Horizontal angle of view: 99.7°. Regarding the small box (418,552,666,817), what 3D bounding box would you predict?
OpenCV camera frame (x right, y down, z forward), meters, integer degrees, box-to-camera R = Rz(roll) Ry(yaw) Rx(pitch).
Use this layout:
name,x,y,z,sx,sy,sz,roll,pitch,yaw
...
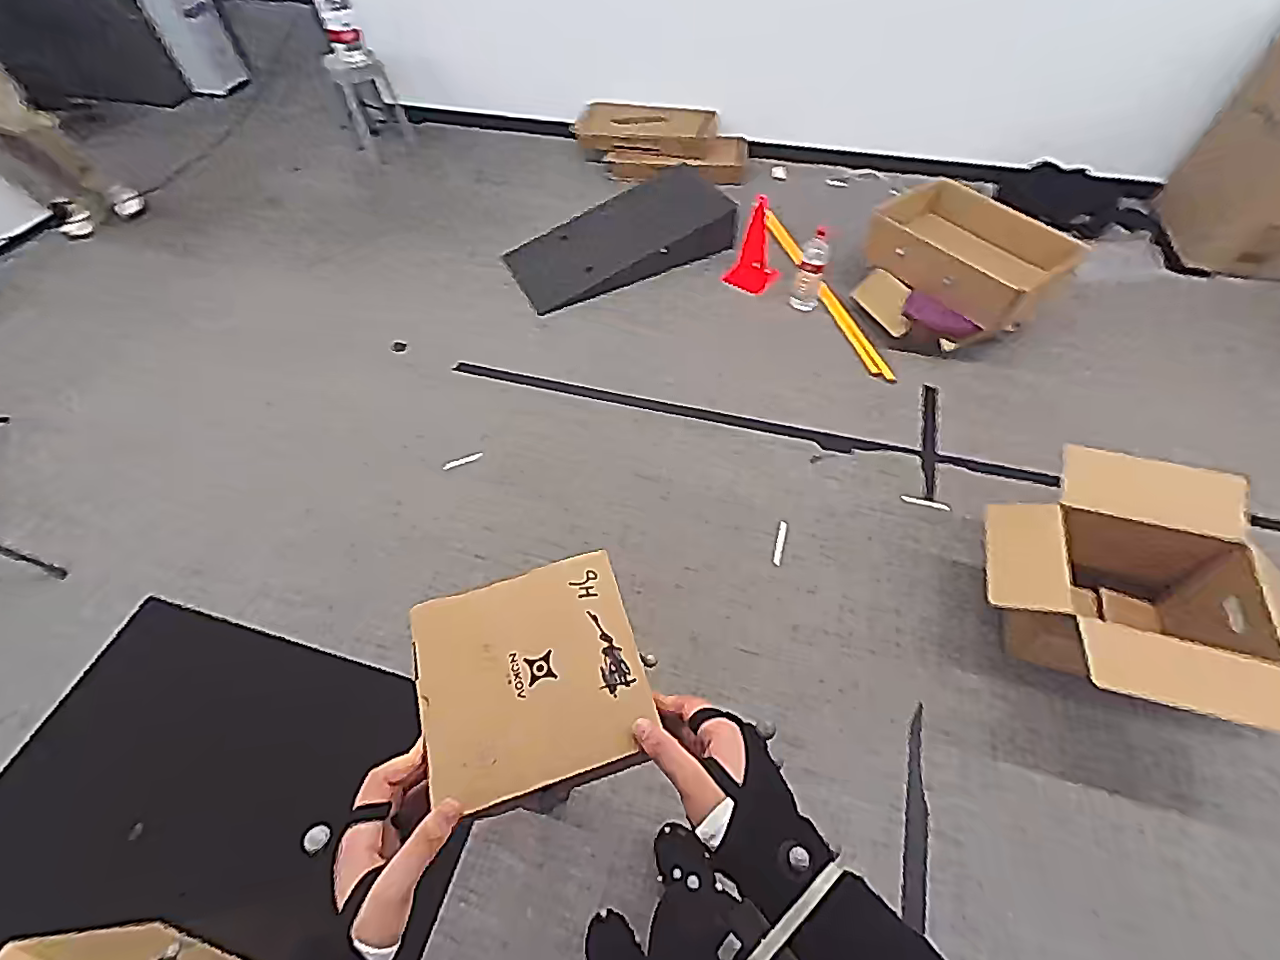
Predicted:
name,x,y,z,sx,sy,sz,roll,pitch,yaw
small box,-0.081,0.192,0.499,0.179,0.176,0.168,-16,61,-8

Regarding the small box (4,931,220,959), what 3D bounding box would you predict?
name,x,y,z,sx,sy,sz,roll,pitch,yaw
small box,-0.477,0.526,0.468,0.168,0.176,0.179,11,56,11
